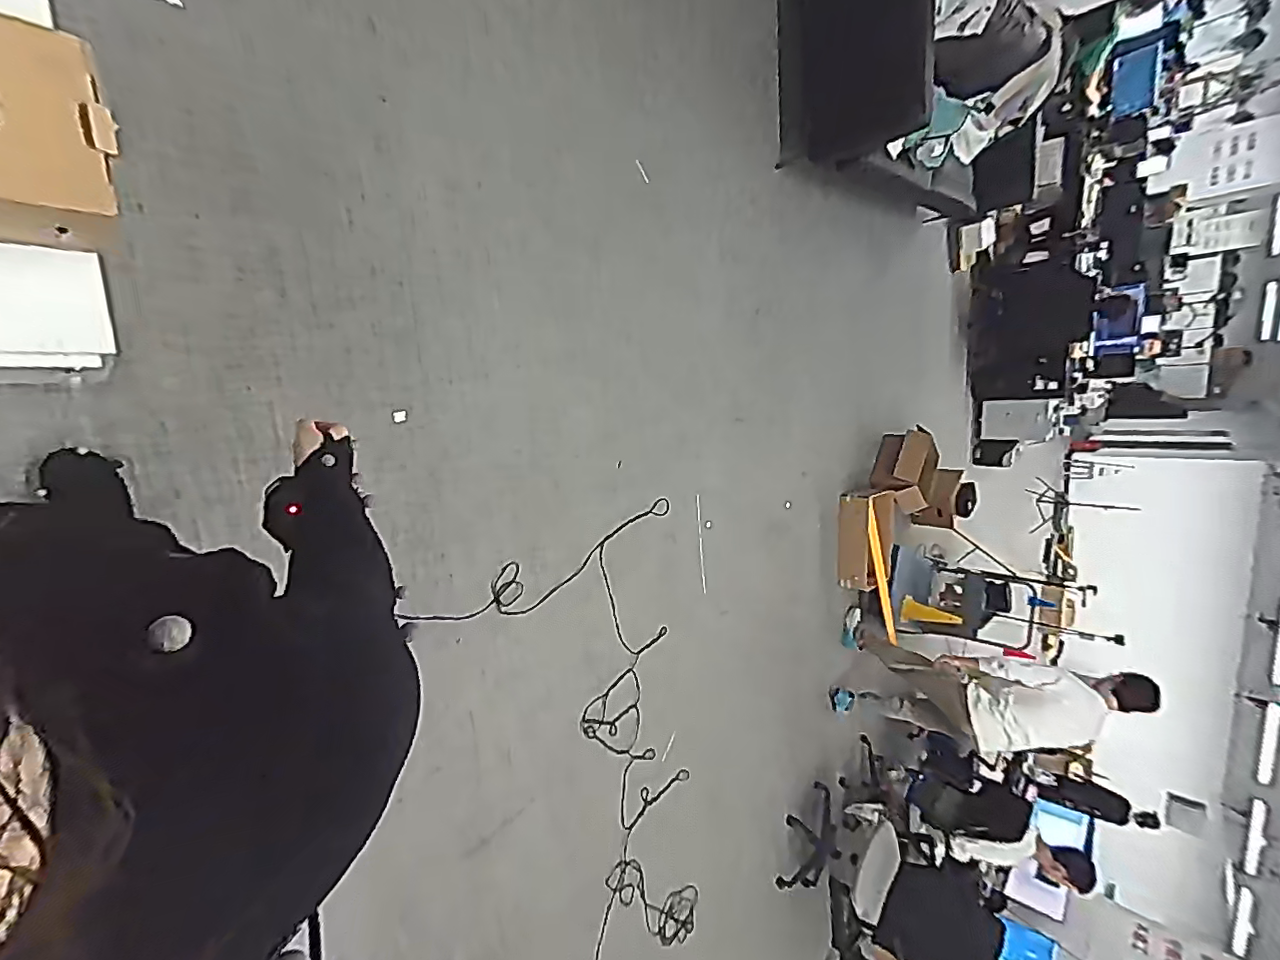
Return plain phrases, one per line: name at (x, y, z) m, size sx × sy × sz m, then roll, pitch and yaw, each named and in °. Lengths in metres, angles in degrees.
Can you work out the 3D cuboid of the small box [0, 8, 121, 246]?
small box at (-0.644, -0.342, 0.529) m, size 0.179 × 0.176 × 0.168 m, roll -11°, pitch 101°, yaw -43°
